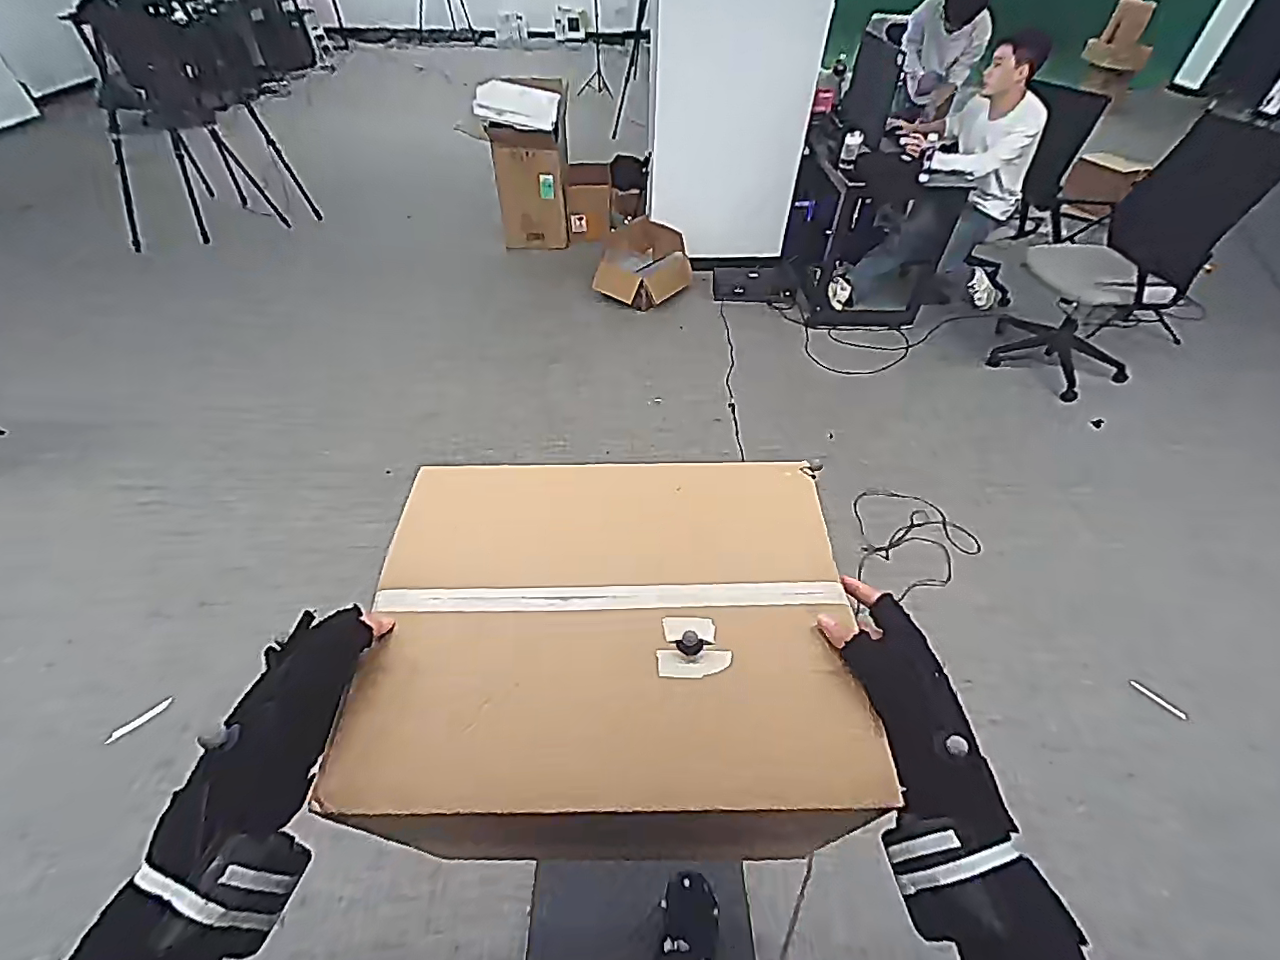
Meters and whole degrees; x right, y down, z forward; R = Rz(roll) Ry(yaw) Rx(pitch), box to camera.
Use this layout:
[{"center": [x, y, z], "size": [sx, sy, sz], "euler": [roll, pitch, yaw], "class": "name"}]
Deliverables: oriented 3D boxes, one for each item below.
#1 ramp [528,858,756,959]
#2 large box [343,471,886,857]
[{"center": [0.010, 1.212, 0.902], "size": [0.509, 0.206, 0.991], "euler": [-2, 46, -2], "class": "ramp"}, {"center": [-0.021, 0.206, 0.597], "size": [0.408, 0.320, 0.320], "euler": [0, 50, 0], "class": "large box"}]
